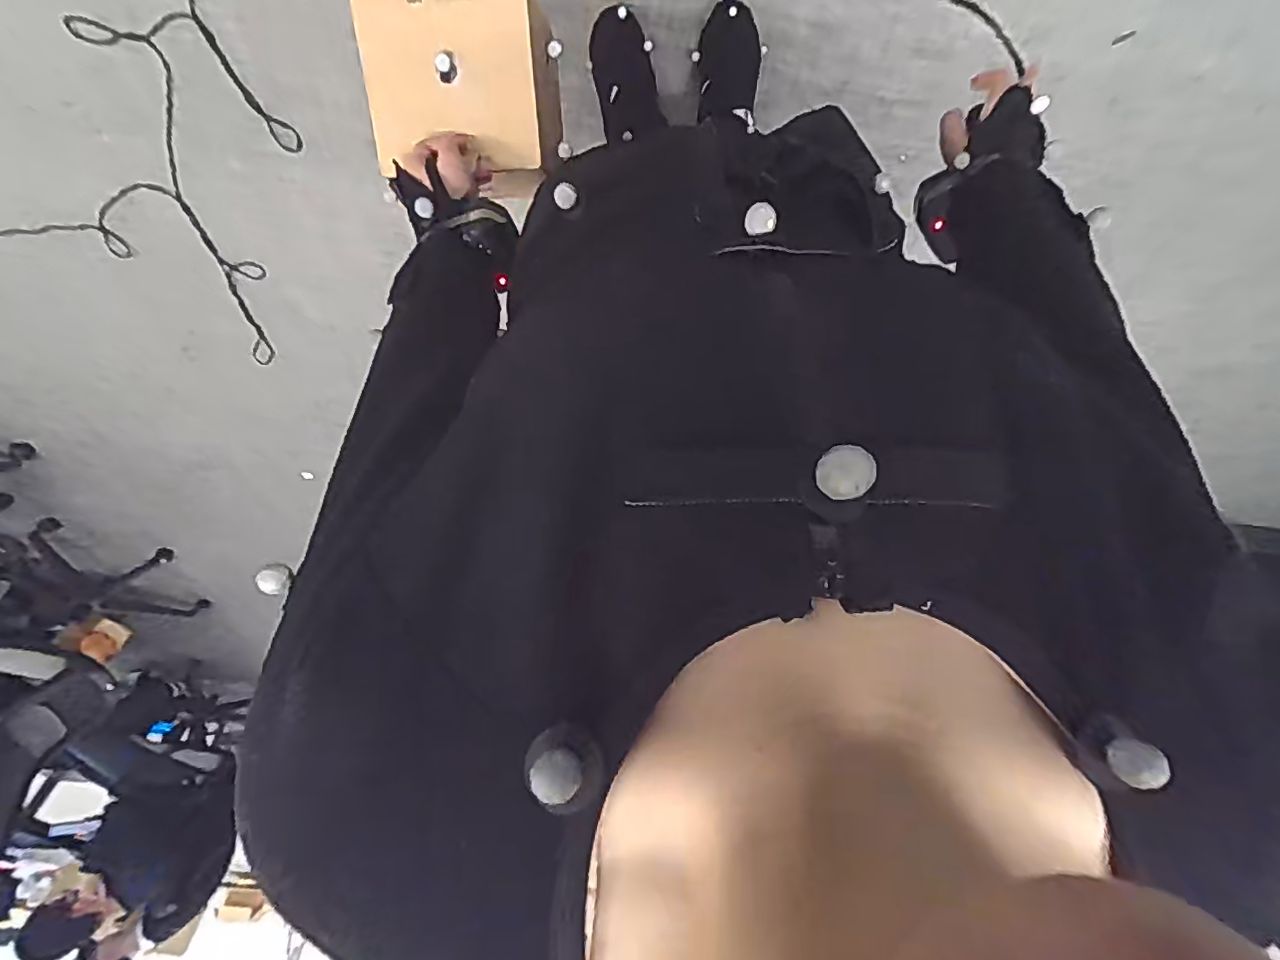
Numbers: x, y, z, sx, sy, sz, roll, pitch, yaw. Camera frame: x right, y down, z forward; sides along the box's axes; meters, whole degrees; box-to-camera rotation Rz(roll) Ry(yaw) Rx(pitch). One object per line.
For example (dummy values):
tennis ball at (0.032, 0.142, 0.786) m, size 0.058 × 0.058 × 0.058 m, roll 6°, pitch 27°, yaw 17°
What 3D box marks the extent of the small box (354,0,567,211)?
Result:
small box at (-0.183, -0.408, 0.598) m, size 0.168 × 0.179 × 0.176 m, roll -3°, pitch 111°, yaw 3°
